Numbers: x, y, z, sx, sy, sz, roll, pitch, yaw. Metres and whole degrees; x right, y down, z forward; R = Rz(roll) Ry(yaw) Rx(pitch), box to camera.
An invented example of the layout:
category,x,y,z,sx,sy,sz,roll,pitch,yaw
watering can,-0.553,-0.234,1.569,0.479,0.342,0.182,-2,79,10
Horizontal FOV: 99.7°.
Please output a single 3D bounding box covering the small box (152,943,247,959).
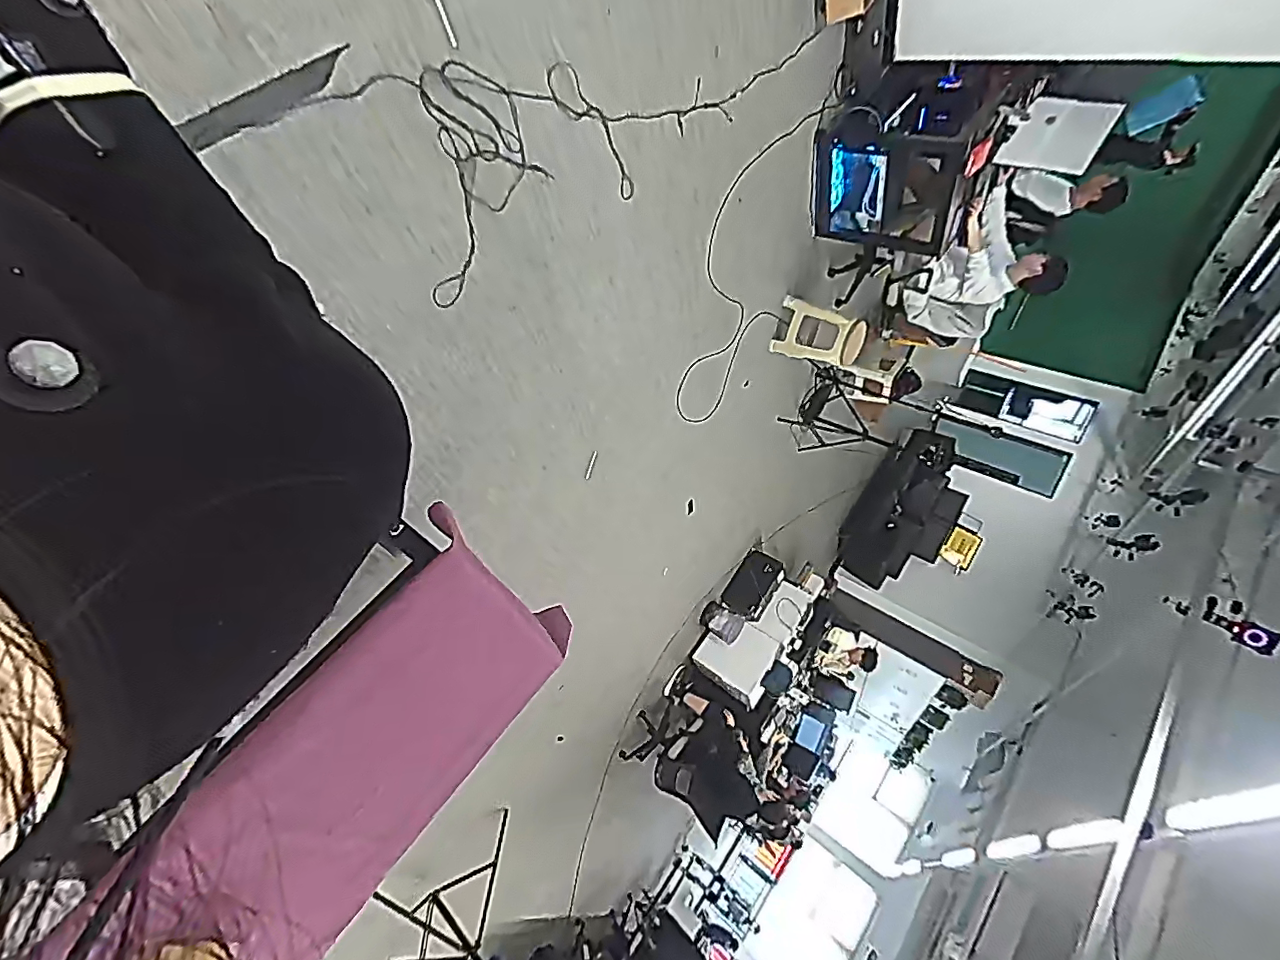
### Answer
category,x,y,z,sx,sy,sz,roll,pitch,yaw
small box,-0.765,0.915,0.895,0.168,0.176,0.179,-47,145,-24
